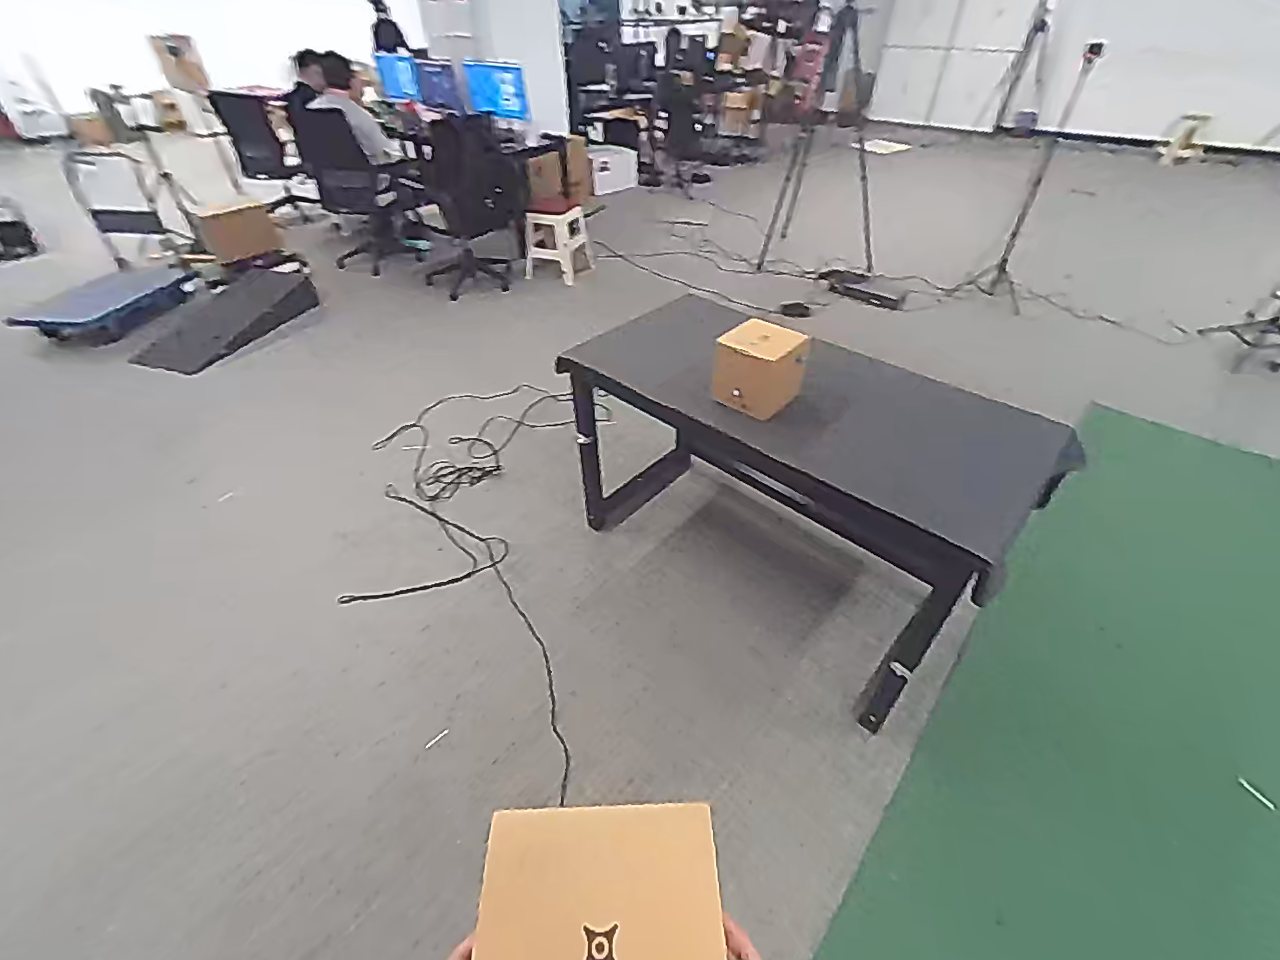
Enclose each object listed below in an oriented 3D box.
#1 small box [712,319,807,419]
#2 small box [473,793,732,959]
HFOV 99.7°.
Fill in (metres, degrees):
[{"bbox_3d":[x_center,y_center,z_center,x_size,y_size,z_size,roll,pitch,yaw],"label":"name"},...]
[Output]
[{"bbox_3d":[0.294,-0.283,1.372,0.168,0.176,0.179,29,49,31],"label":"small box"},{"bbox_3d":[-0.025,0.355,0.396,0.168,0.176,0.179,-1,42,-1],"label":"small box"}]
